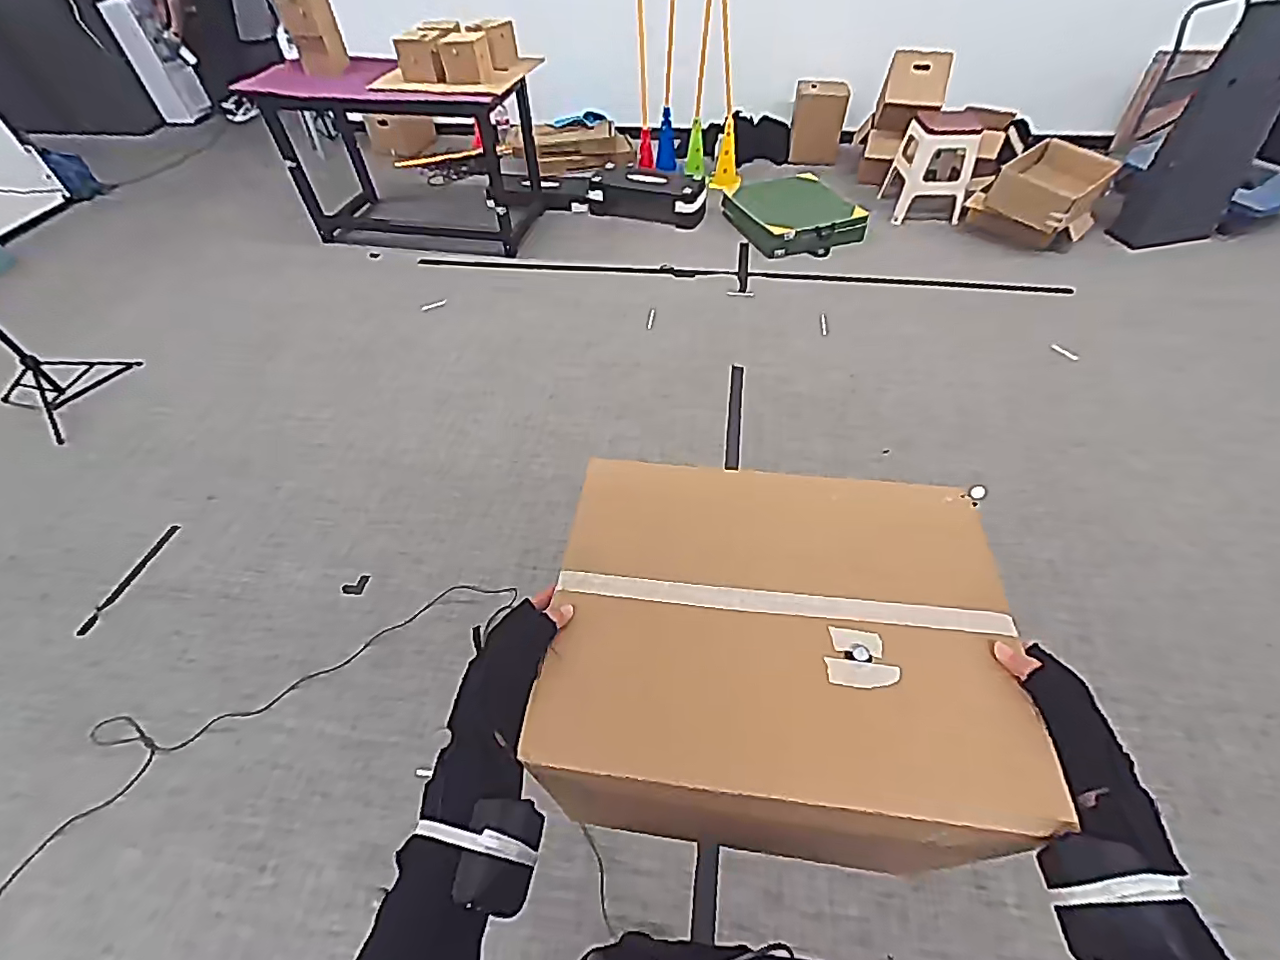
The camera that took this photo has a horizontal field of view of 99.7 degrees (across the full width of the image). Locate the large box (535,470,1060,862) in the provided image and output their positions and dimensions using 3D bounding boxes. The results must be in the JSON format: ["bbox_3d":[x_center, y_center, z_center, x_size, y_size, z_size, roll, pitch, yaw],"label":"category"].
[{"bbox_3d":[0.130,0.213,0.617,0.408,0.320,0.320,5,52,6],"label":"large box"}]
